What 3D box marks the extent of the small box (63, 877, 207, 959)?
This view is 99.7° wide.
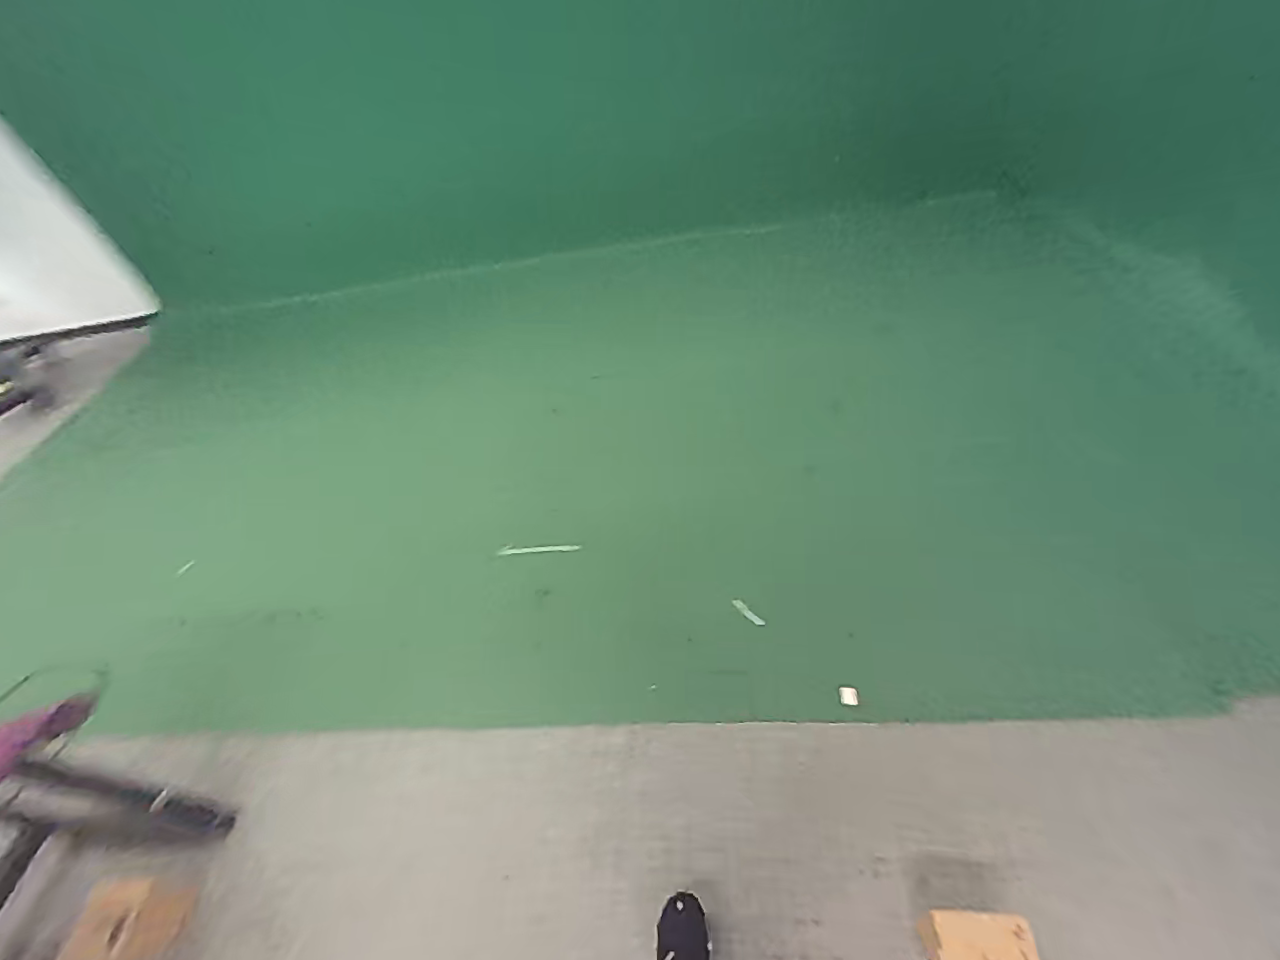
[{"bbox_3d":[-1.285,1.136,1.395,0.179,0.176,0.168,-8,47,8],"label":"small box"}]

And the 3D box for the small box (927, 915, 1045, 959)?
[{"bbox_3d":[0.679,0.969,1.053,0.179,0.176,0.168,-4,48,11],"label":"small box"}]
